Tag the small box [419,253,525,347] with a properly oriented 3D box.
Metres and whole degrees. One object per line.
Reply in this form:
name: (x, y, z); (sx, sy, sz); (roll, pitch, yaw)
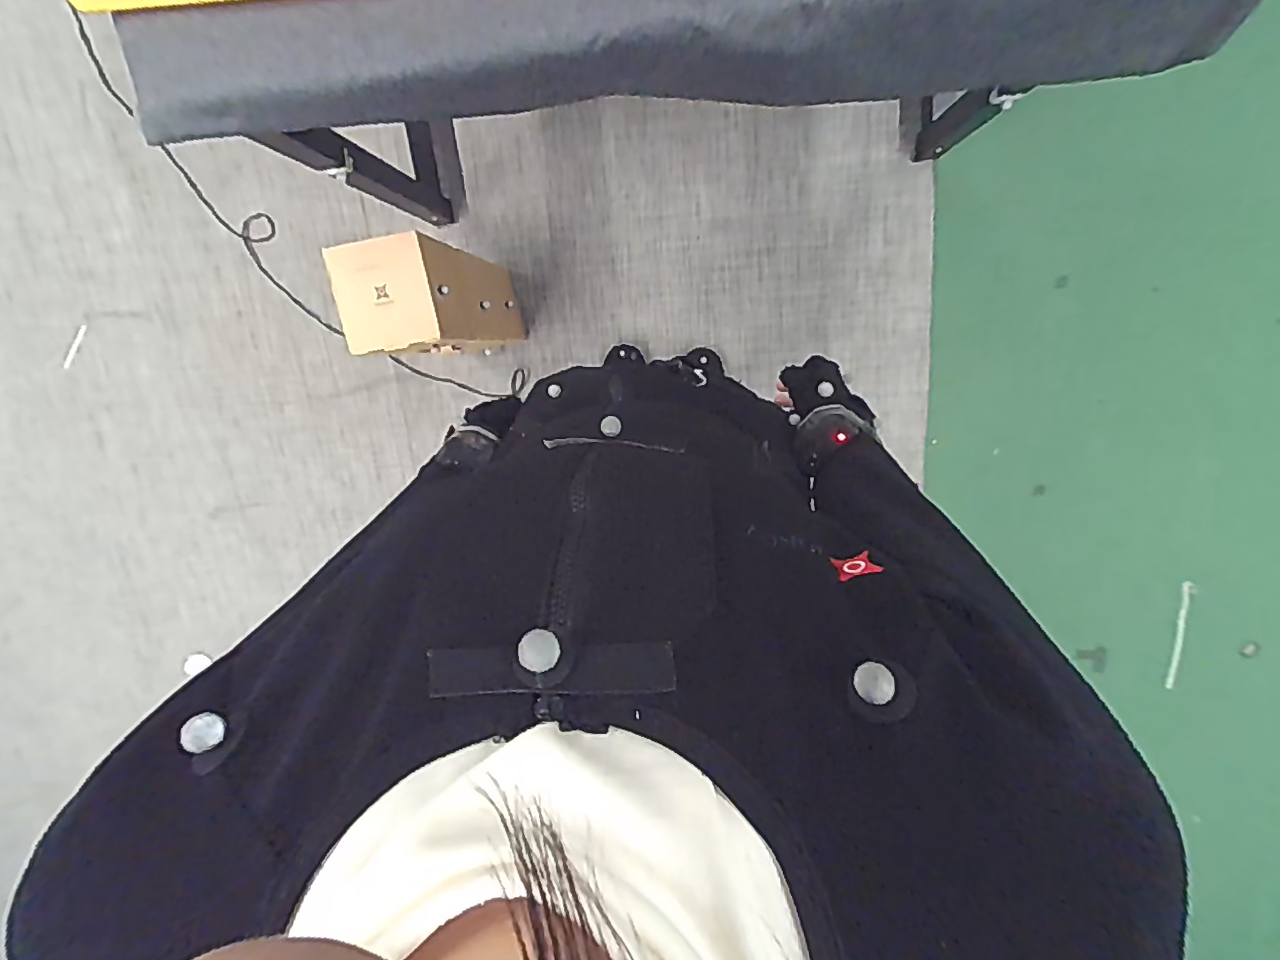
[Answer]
small box: (-0.389, -0.418, 1.281); (0.168, 0.176, 0.179); (-11, 104, 7)
